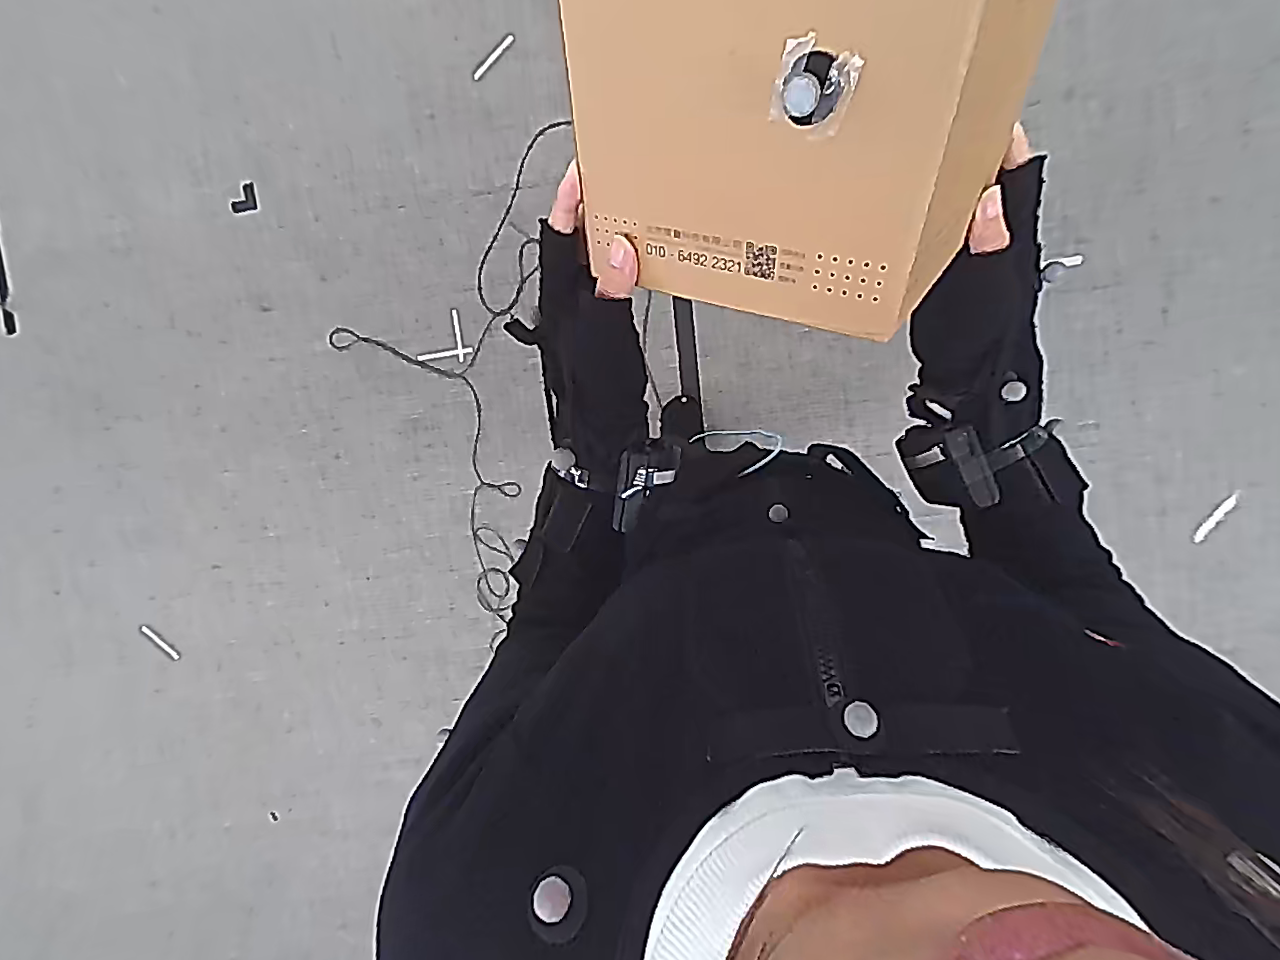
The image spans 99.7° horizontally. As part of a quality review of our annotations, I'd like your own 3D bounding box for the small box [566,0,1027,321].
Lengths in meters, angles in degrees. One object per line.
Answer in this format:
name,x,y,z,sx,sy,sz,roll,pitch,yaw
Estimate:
small box,0.083,-0.202,0.279,0.168,0.179,0.176,25,139,28
